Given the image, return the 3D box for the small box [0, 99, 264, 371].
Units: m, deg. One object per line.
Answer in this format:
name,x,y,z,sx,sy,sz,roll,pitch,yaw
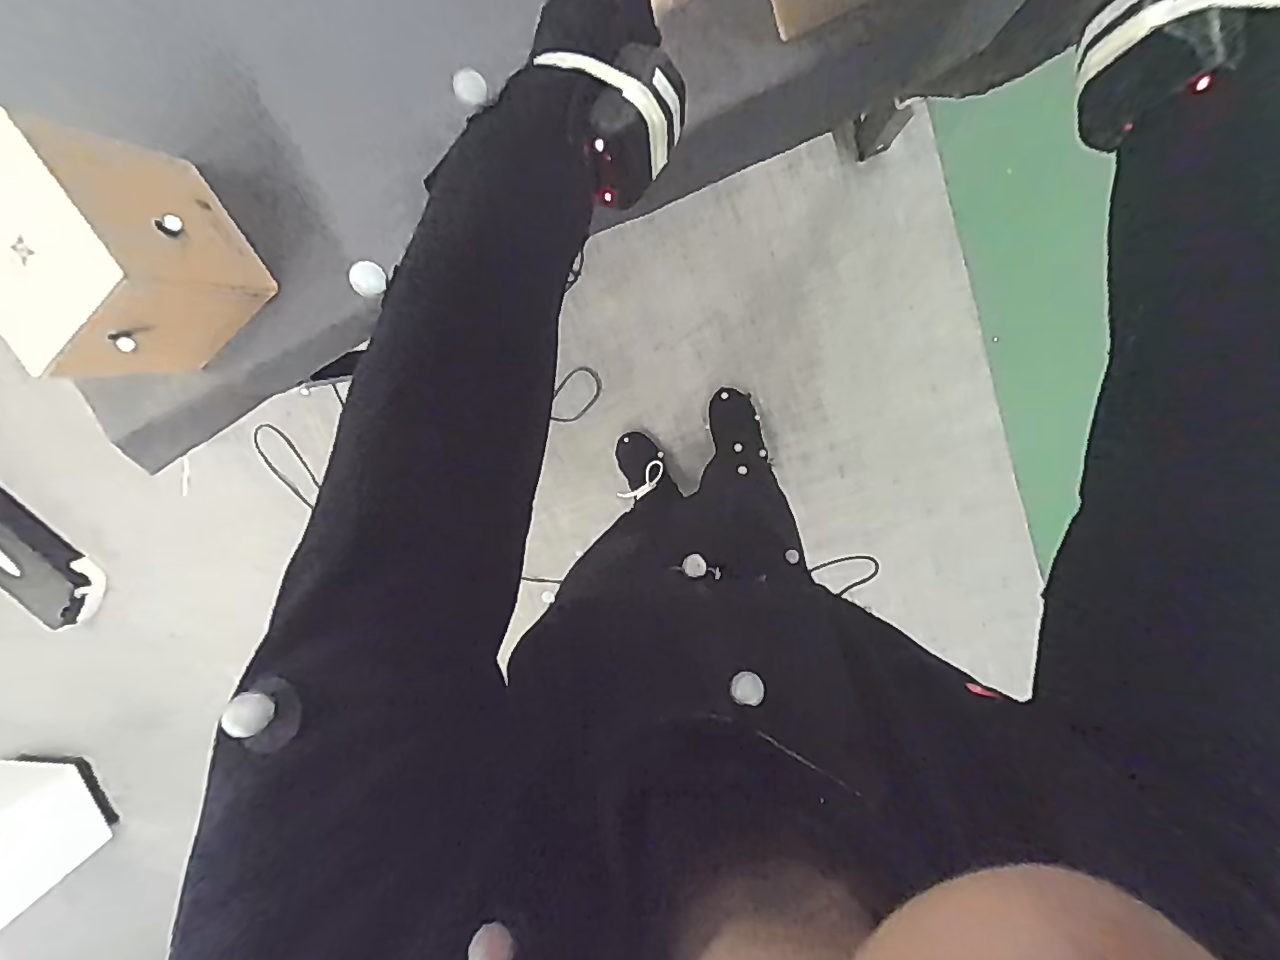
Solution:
small box,-0.542,-0.234,0.561,0.179,0.176,0.168,-30,97,20
